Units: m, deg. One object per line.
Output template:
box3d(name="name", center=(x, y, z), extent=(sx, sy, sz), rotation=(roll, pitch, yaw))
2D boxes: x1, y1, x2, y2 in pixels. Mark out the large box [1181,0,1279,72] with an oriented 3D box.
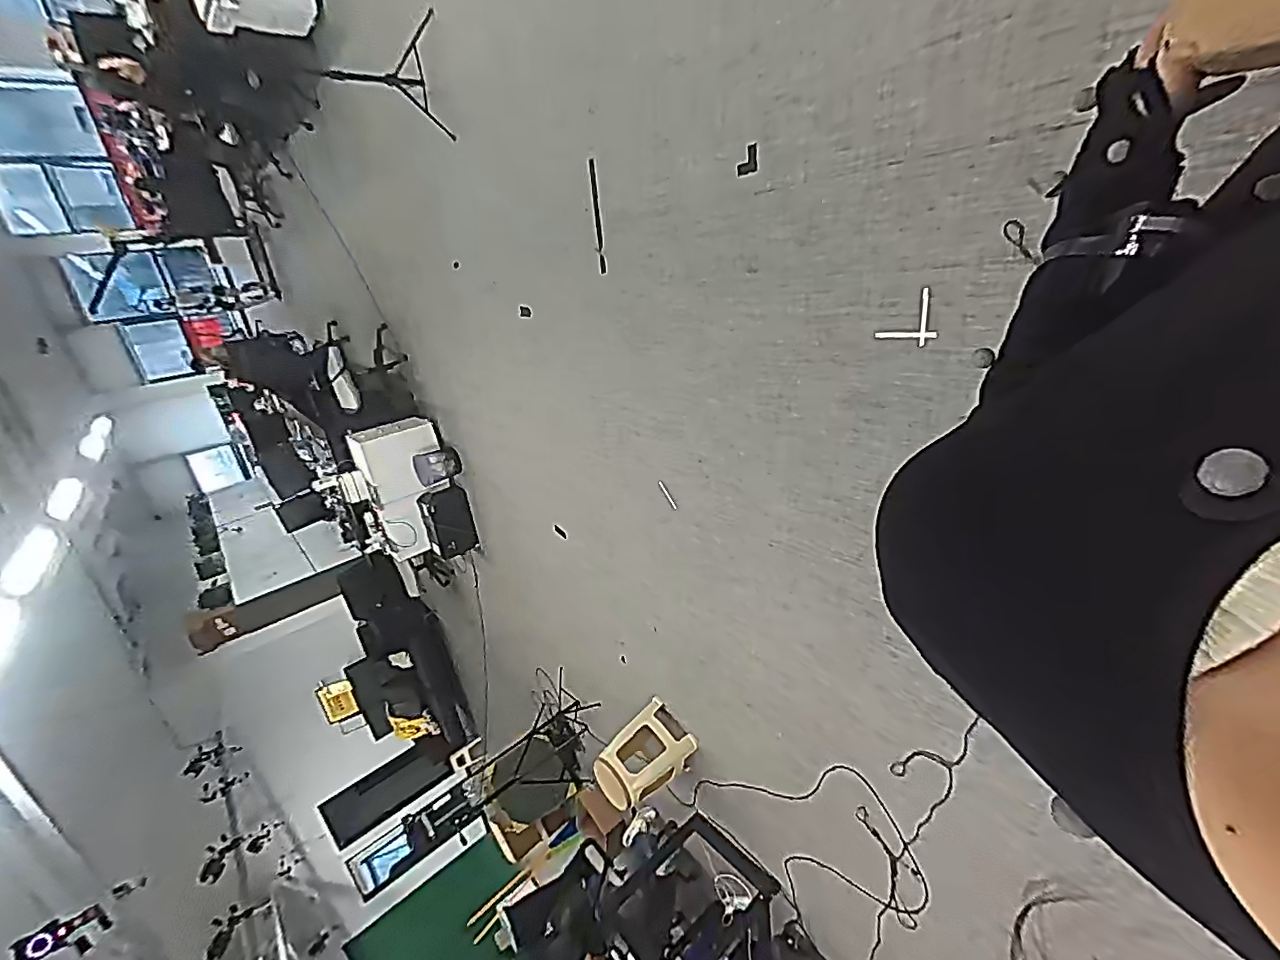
box3d(name="large box", center=(0.429, -0.326, 0.107), extent=(0.408, 0.320, 0.320), rotation=(17, 128, 40))
